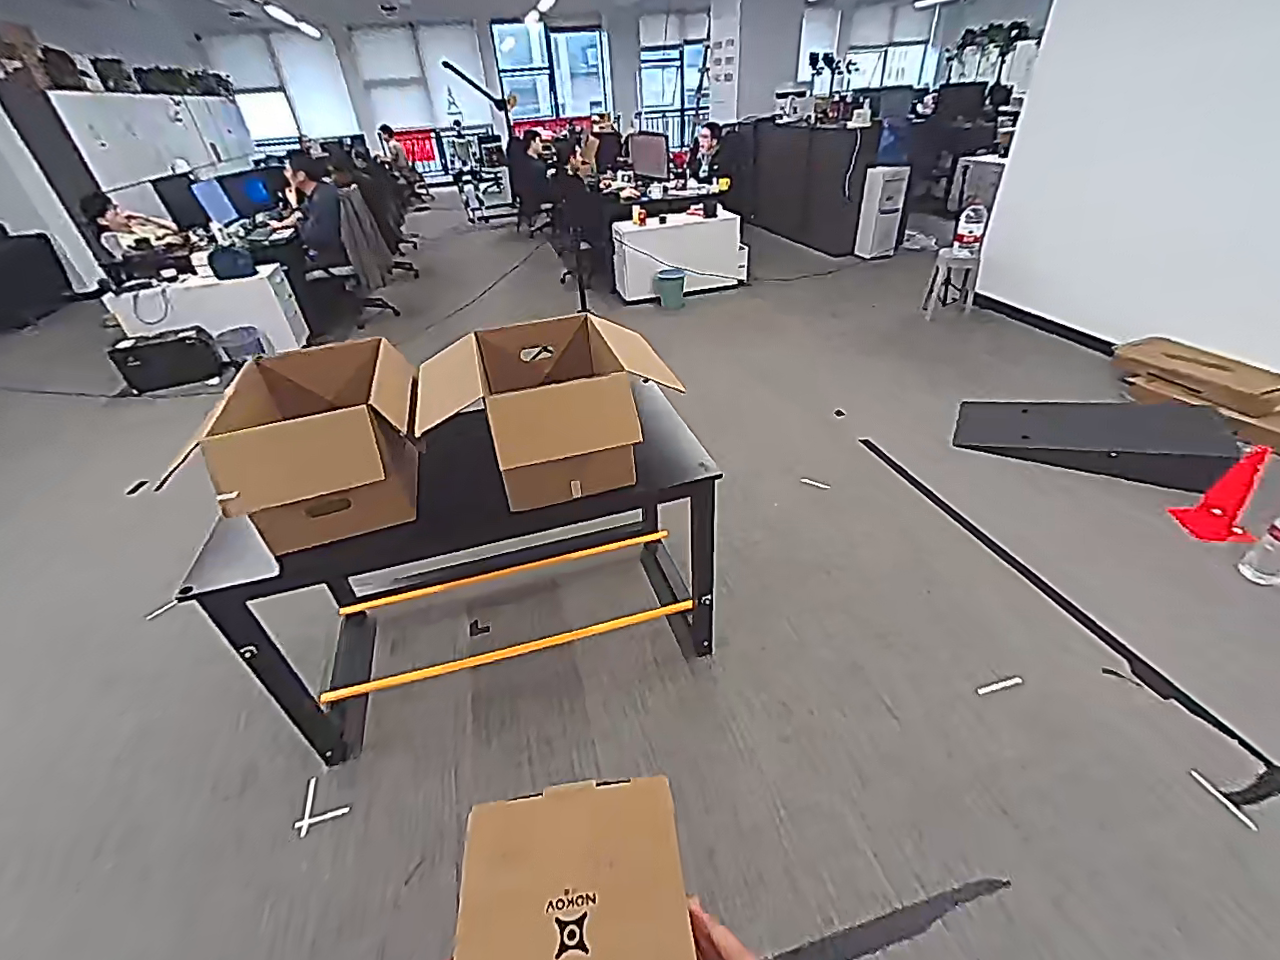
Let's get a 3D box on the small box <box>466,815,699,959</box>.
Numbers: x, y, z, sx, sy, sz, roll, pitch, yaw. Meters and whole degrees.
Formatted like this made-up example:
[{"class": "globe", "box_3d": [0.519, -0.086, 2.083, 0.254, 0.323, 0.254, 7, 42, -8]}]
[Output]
[{"class": "small box", "box_3d": [-0.036, 0.399, 0.422, 0.168, 0.176, 0.179, -8, 39, -3]}]
